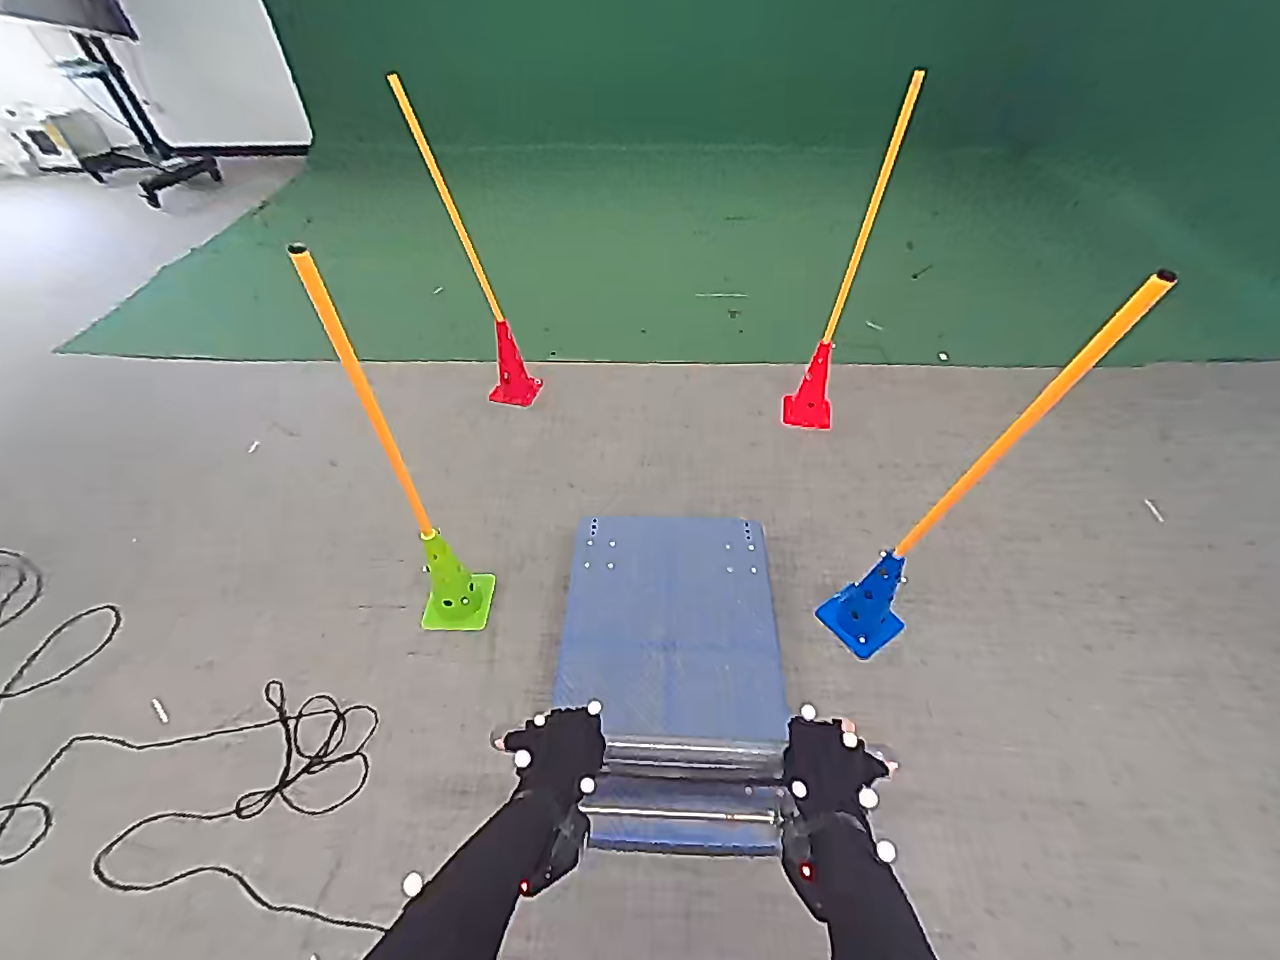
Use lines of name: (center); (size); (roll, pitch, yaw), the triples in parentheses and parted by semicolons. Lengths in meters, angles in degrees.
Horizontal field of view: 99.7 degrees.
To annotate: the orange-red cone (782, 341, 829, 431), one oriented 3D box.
orange-red cone: (0.711, -0.402, 2.205); (0.198, 0.360, 0.199); (9, 48, 10)
